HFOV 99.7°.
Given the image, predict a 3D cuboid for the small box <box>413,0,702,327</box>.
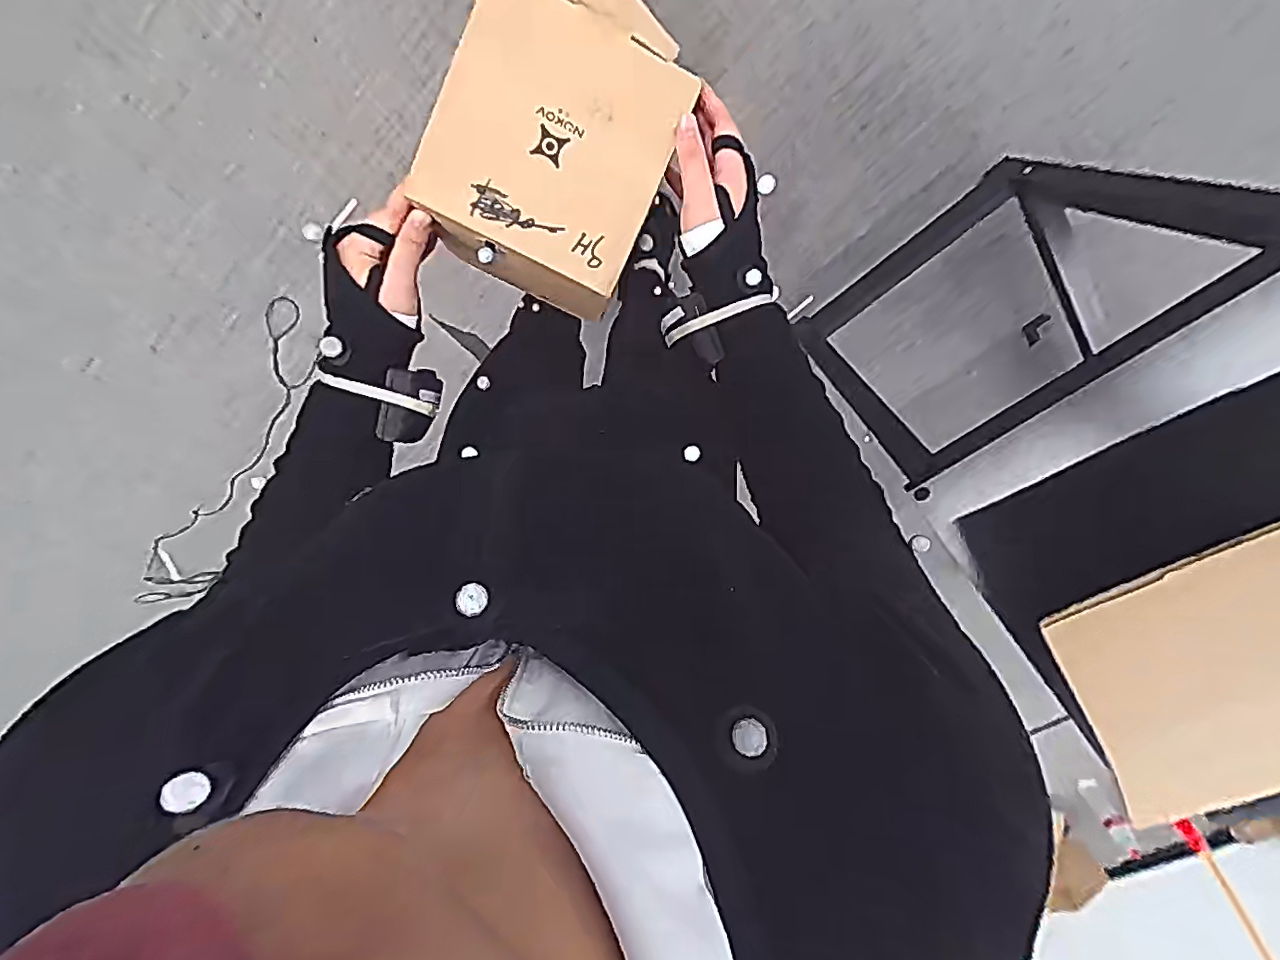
[{"bbox_3d":[-0.070,-0.261,0.483,0.168,0.176,0.179,24,92,-8],"label":"small box"}]
